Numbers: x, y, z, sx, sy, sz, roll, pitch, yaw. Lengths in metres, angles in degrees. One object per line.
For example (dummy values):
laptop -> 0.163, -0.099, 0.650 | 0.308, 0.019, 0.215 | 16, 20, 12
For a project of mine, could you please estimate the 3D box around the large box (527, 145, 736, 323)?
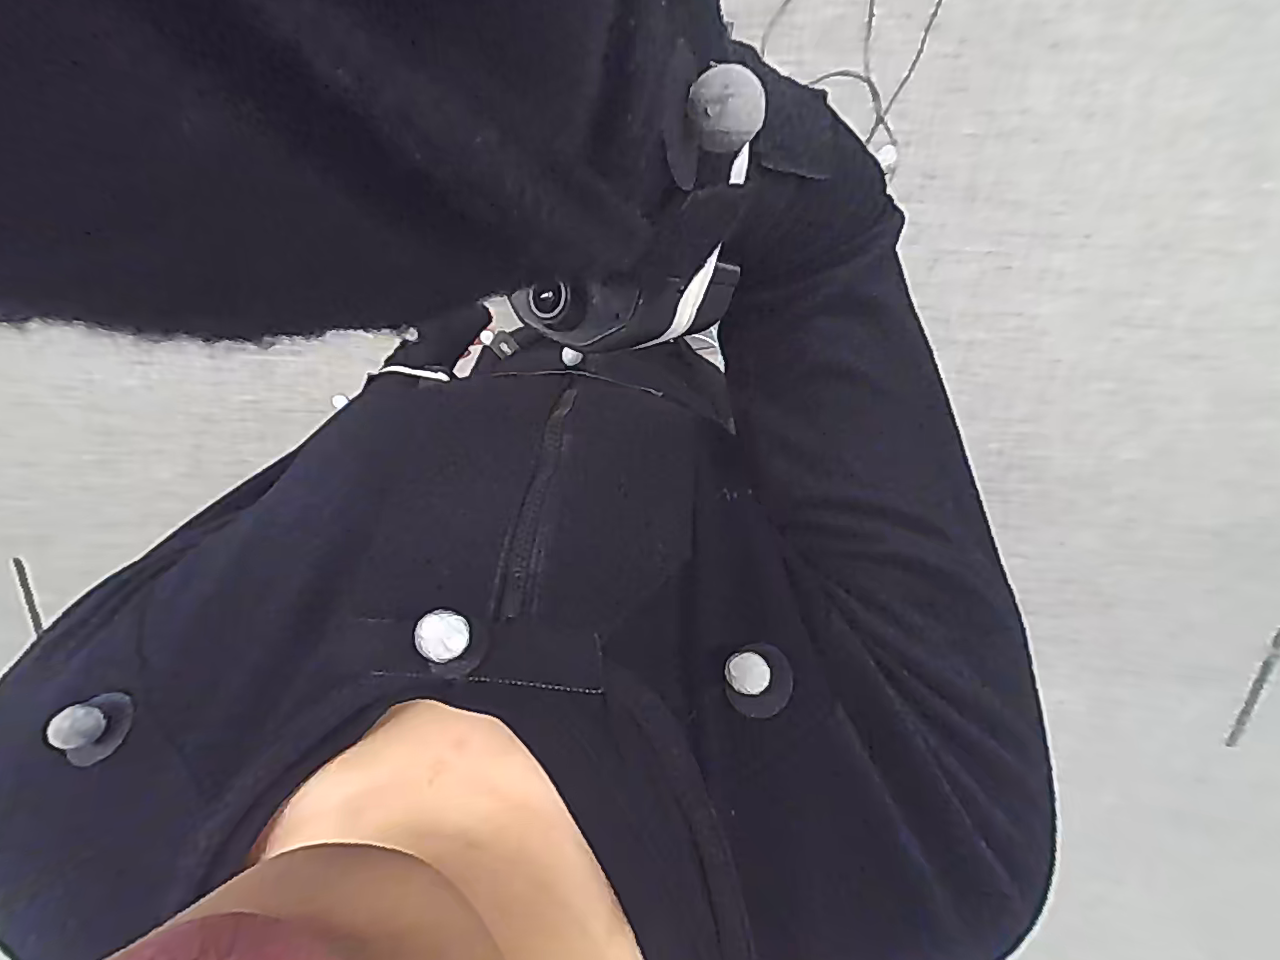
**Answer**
large box -> -0.014, -0.517, 1.201 | 0.408, 0.320, 0.320 | 1, 105, 2
